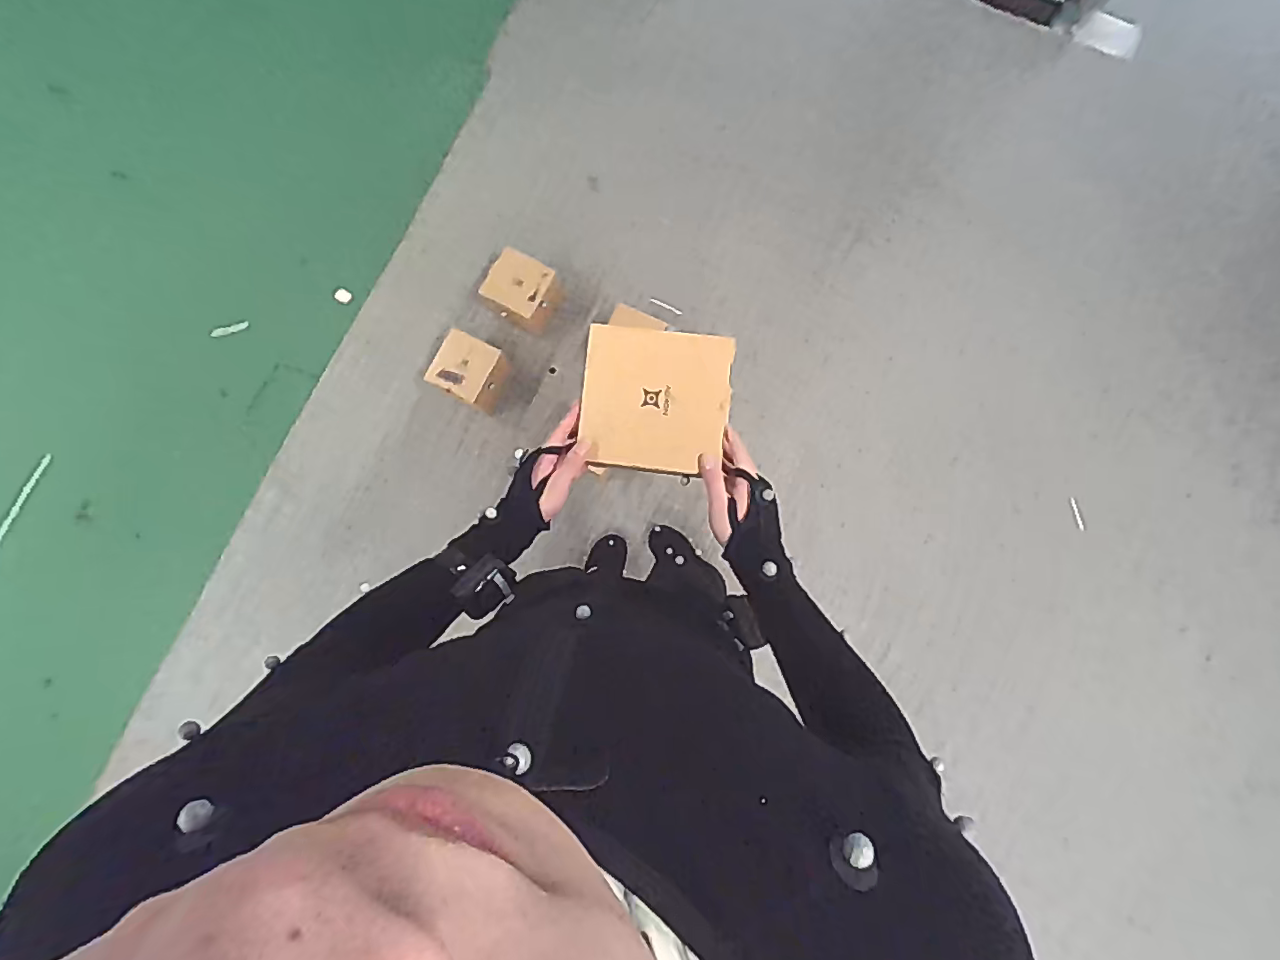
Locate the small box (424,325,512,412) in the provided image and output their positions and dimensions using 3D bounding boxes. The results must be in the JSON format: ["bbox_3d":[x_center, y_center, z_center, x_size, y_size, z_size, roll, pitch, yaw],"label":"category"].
[{"bbox_3d":[-0.502,-0.323,1.611,0.168,0.176,0.179,28,84,3],"label":"small box"}]

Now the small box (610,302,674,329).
[{"bbox_3d":[-0.015,-0.396,1.618,0.179,0.176,0.168,26,84,3],"label":"small box"}]

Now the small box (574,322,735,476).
[{"bbox_3d":[0.018,-0.095,0.710,0.179,0.176,0.168,6,89,1],"label":"small box"}]

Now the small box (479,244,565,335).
[{"bbox_3d":[-0.350,-0.568,1.637,0.179,0.176,0.168,29,85,4],"label":"small box"}]
